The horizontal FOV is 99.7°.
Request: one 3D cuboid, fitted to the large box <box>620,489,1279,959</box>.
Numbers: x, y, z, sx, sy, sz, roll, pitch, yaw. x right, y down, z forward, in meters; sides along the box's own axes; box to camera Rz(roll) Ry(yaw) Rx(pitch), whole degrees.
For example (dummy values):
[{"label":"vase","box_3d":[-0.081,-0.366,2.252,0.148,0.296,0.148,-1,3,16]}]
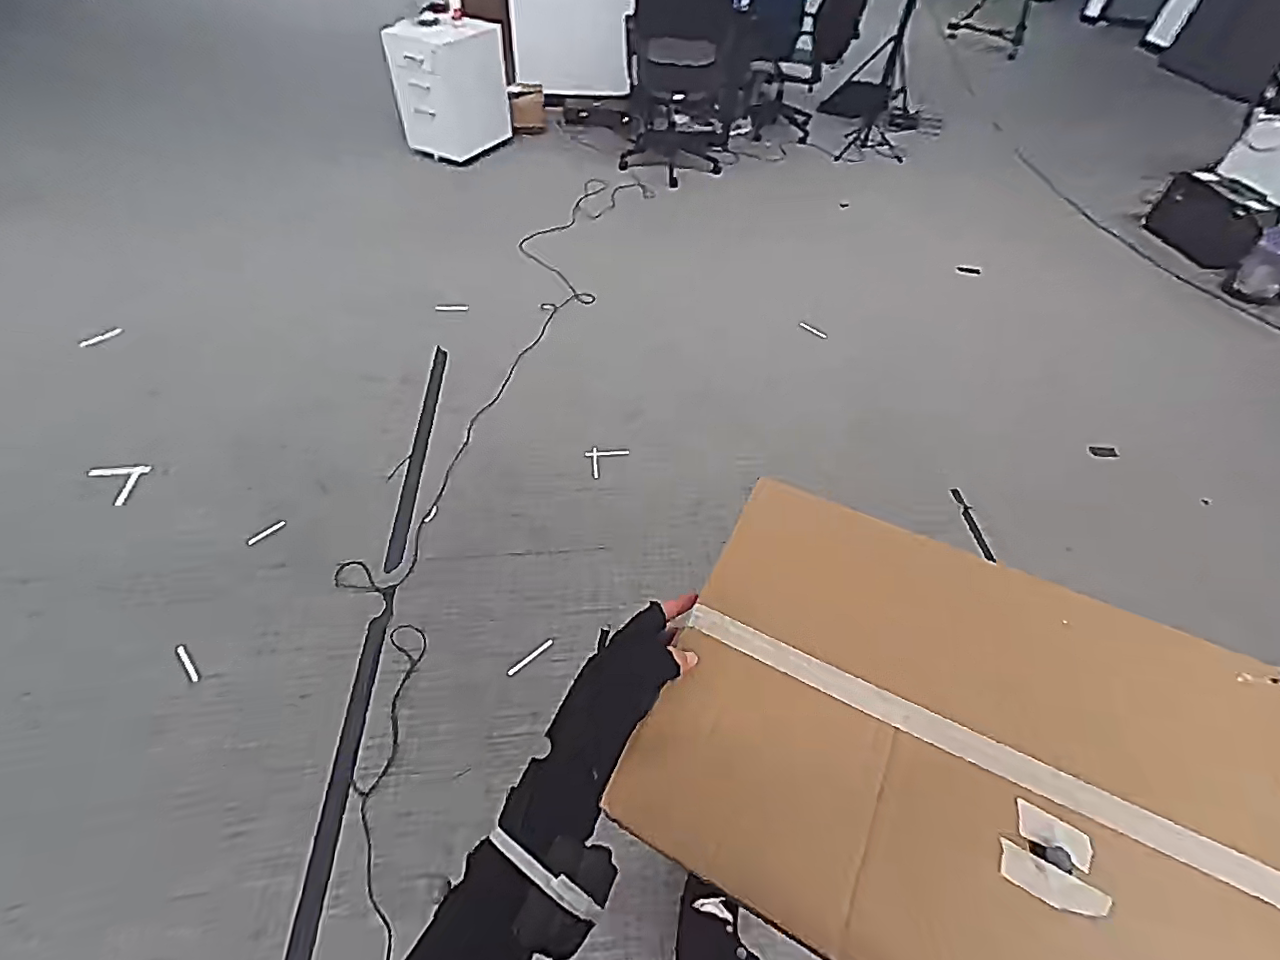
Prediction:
[{"label":"large box","box_3d":[0.233,0.272,0.523,0.408,0.320,0.320,22,60,18]}]
